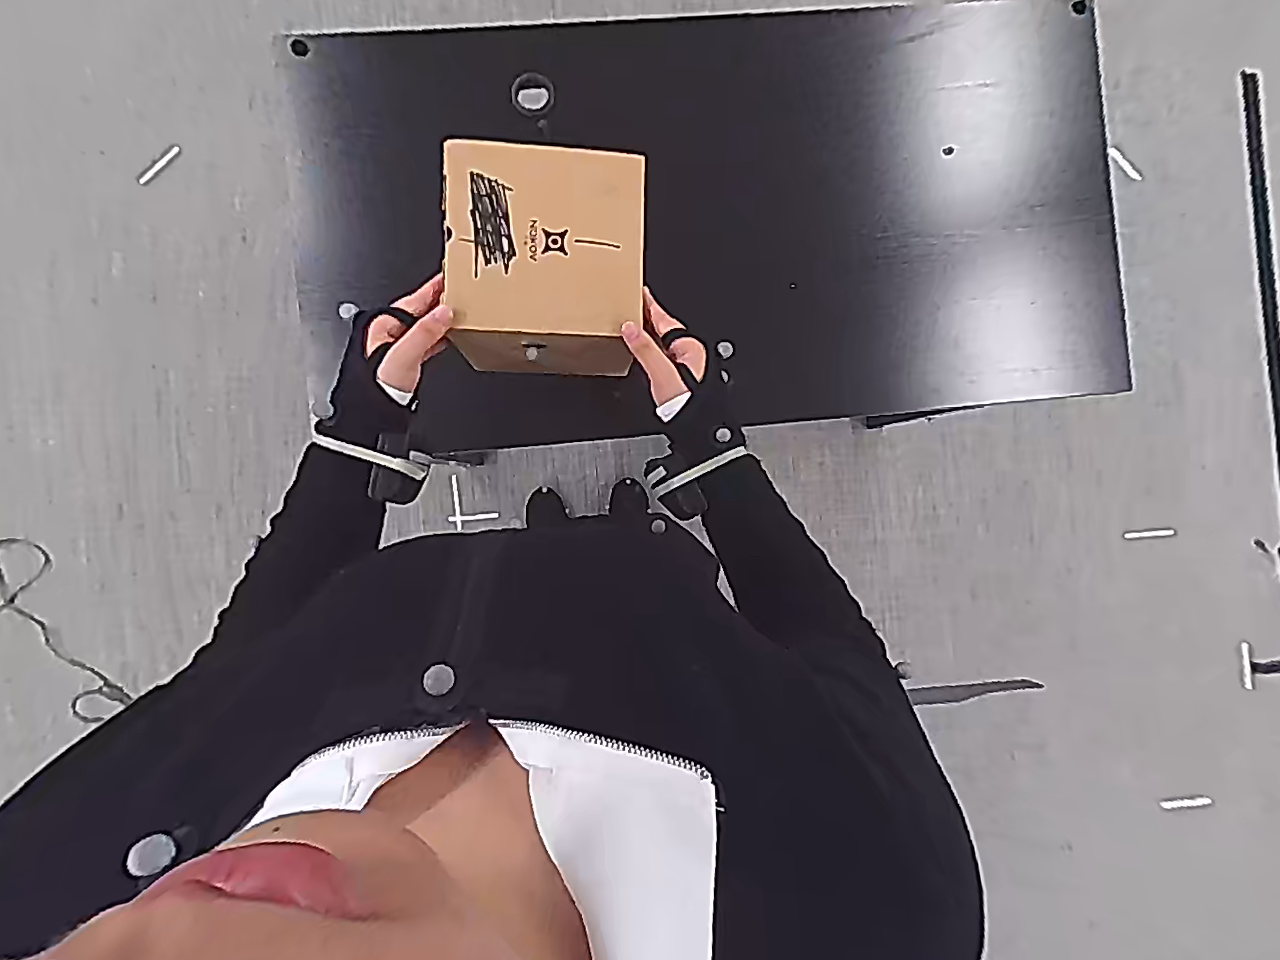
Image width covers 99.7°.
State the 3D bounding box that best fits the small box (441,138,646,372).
[{"bbox_3d":[-0.091,-0.210,0.553,0.179,0.176,0.168,1,89,-7],"label":"small box"}]
